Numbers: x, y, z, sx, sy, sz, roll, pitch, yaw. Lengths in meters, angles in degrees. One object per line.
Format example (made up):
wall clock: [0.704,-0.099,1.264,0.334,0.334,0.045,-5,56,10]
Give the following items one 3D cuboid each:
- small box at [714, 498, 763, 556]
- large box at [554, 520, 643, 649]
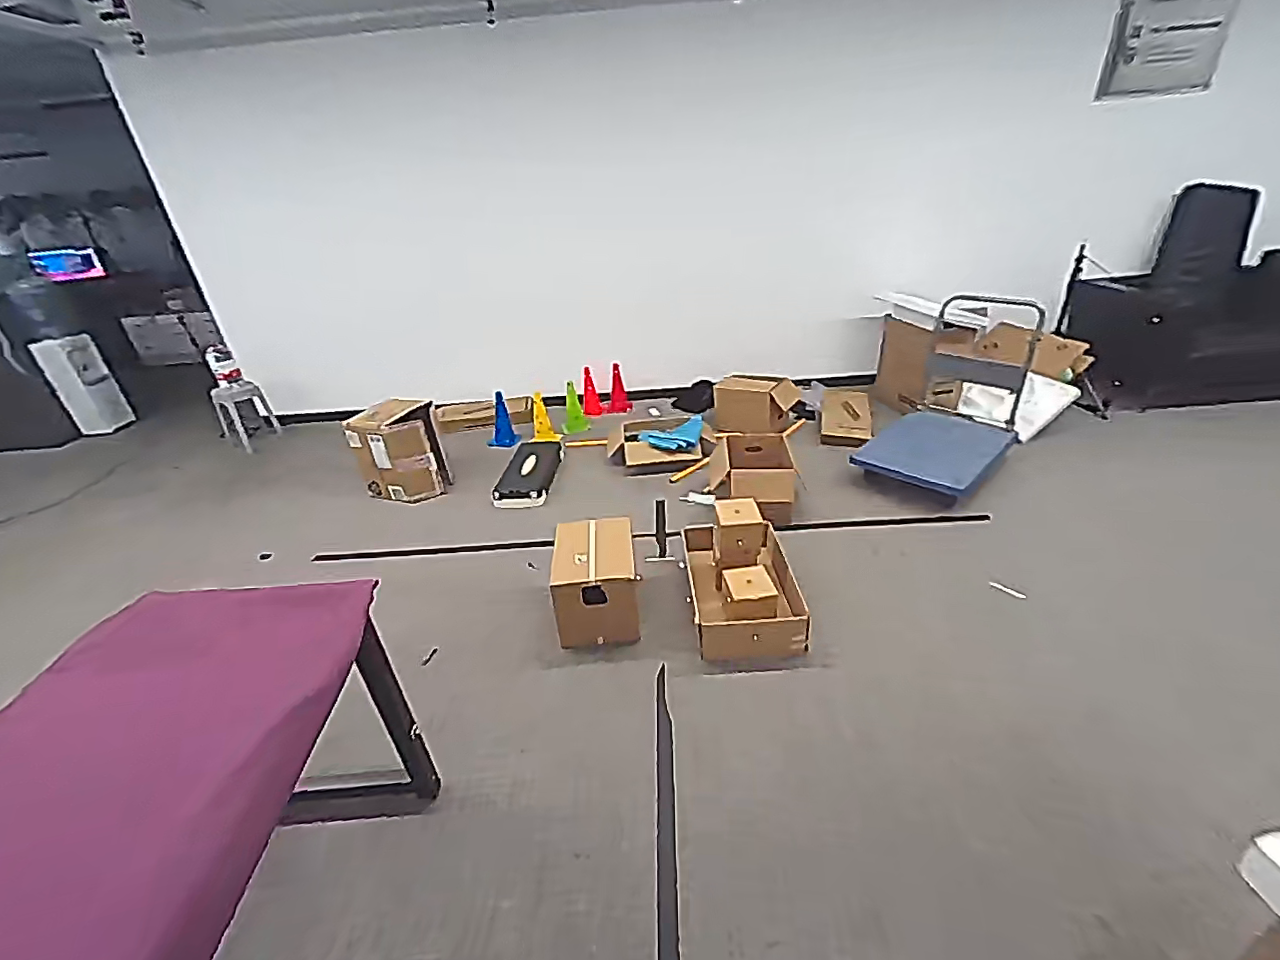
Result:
small box: [0.393,0.194,2.175,0.168,0.176,0.179,-3,30,-1]
large box: [-0.164,0.408,2.172,0.320,0.320,0.408,-6,30,-1]
